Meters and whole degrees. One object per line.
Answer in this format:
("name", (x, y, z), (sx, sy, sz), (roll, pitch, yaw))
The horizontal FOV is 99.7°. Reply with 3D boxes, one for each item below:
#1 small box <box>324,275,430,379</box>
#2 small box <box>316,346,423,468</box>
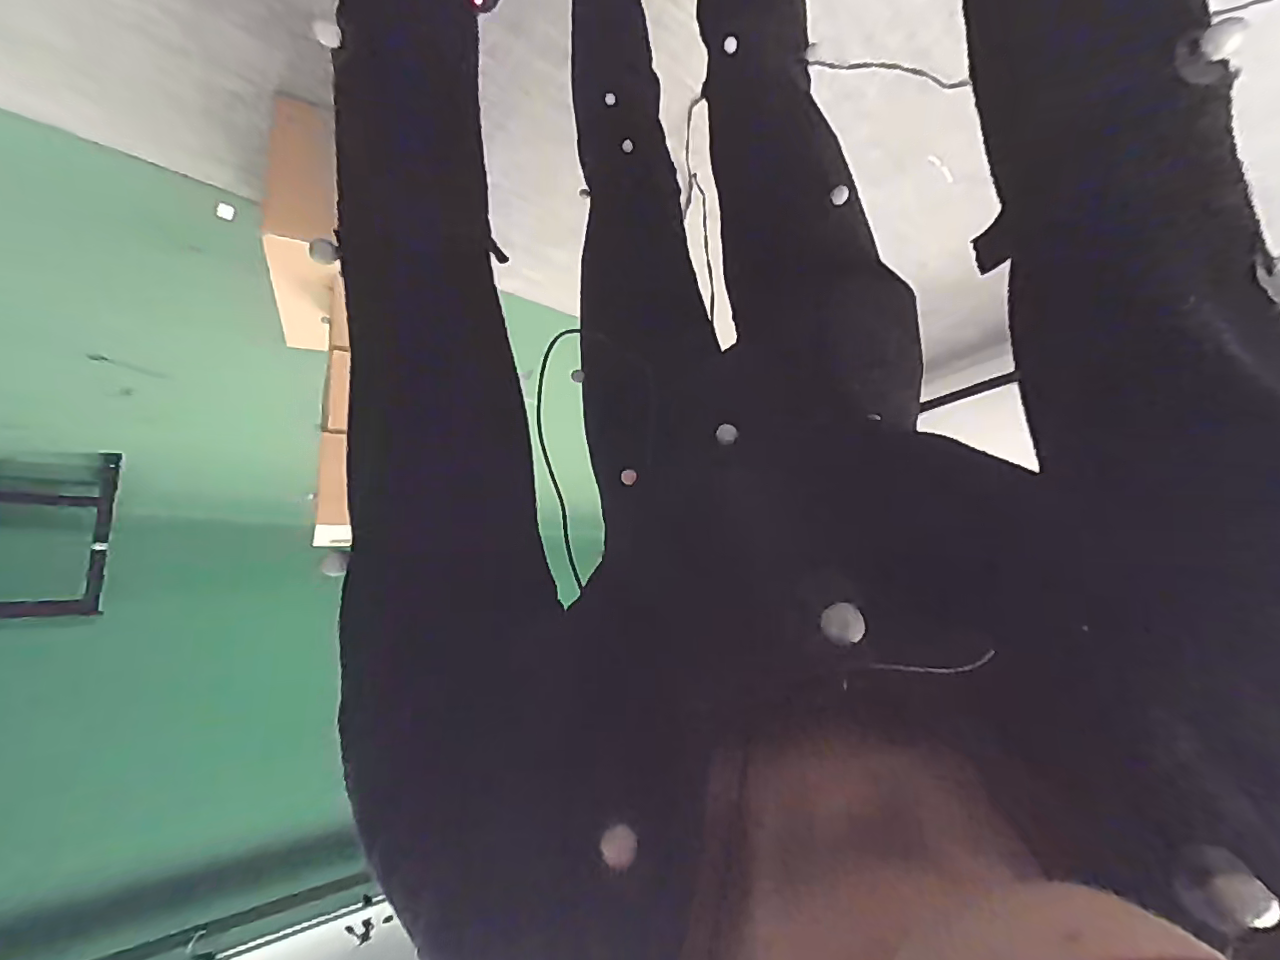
("small box", (-0.536, -0.289, 1.100), (0.179, 0.176, 0.168), (4, 162, -32))
("small box", (-0.524, -0.135, 1.051), (0.168, 0.176, 0.179), (4, 161, -34))
